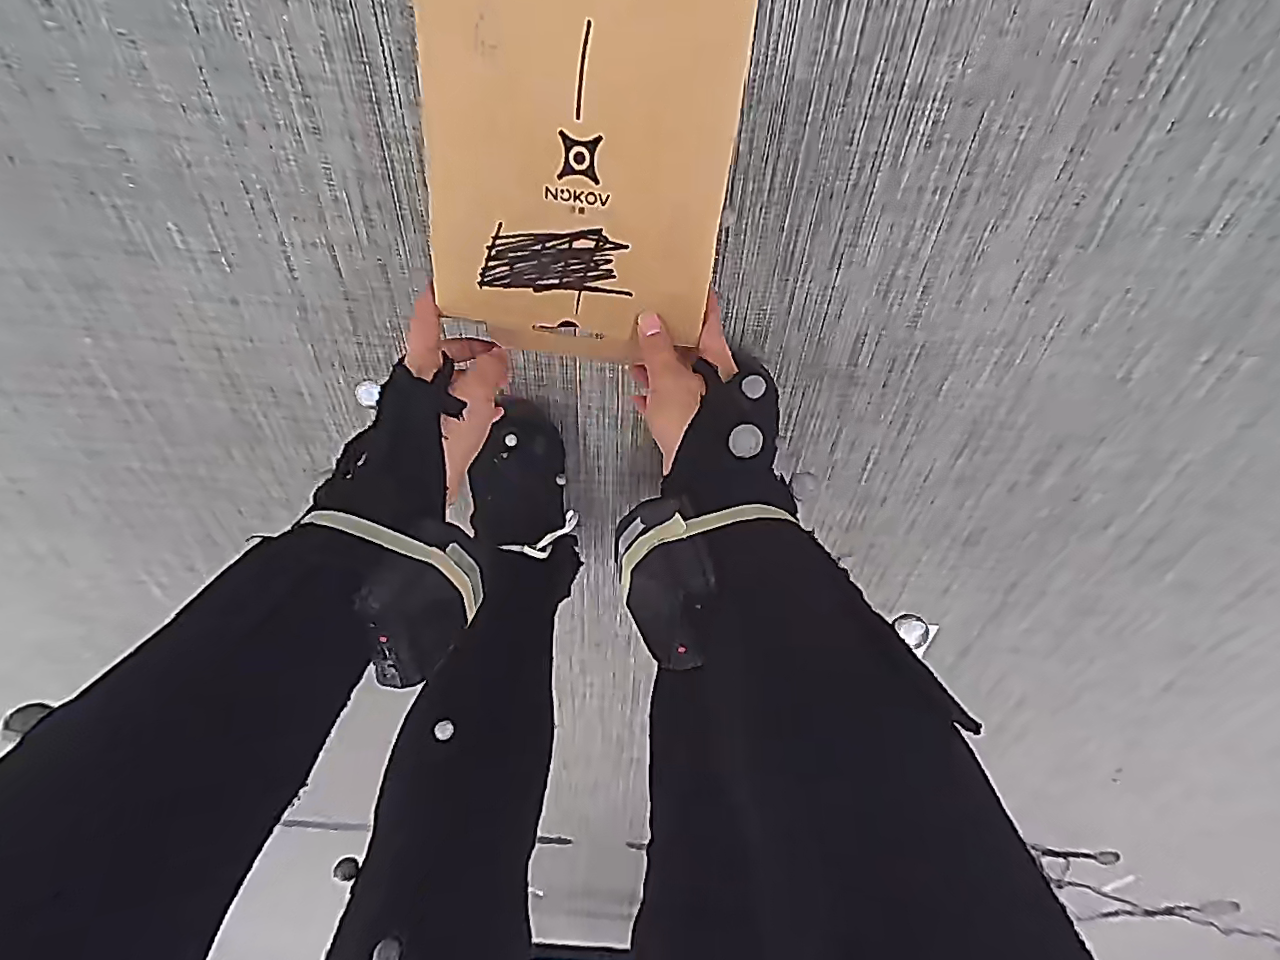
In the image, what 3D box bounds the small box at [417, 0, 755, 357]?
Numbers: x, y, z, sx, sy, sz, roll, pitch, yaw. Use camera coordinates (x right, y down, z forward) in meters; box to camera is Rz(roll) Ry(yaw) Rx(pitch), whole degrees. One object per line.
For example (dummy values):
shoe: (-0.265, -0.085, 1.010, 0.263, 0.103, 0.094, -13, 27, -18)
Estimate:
small box: (-0.032, -0.201, 0.364, 0.168, 0.176, 0.179, 7, 119, -2)
